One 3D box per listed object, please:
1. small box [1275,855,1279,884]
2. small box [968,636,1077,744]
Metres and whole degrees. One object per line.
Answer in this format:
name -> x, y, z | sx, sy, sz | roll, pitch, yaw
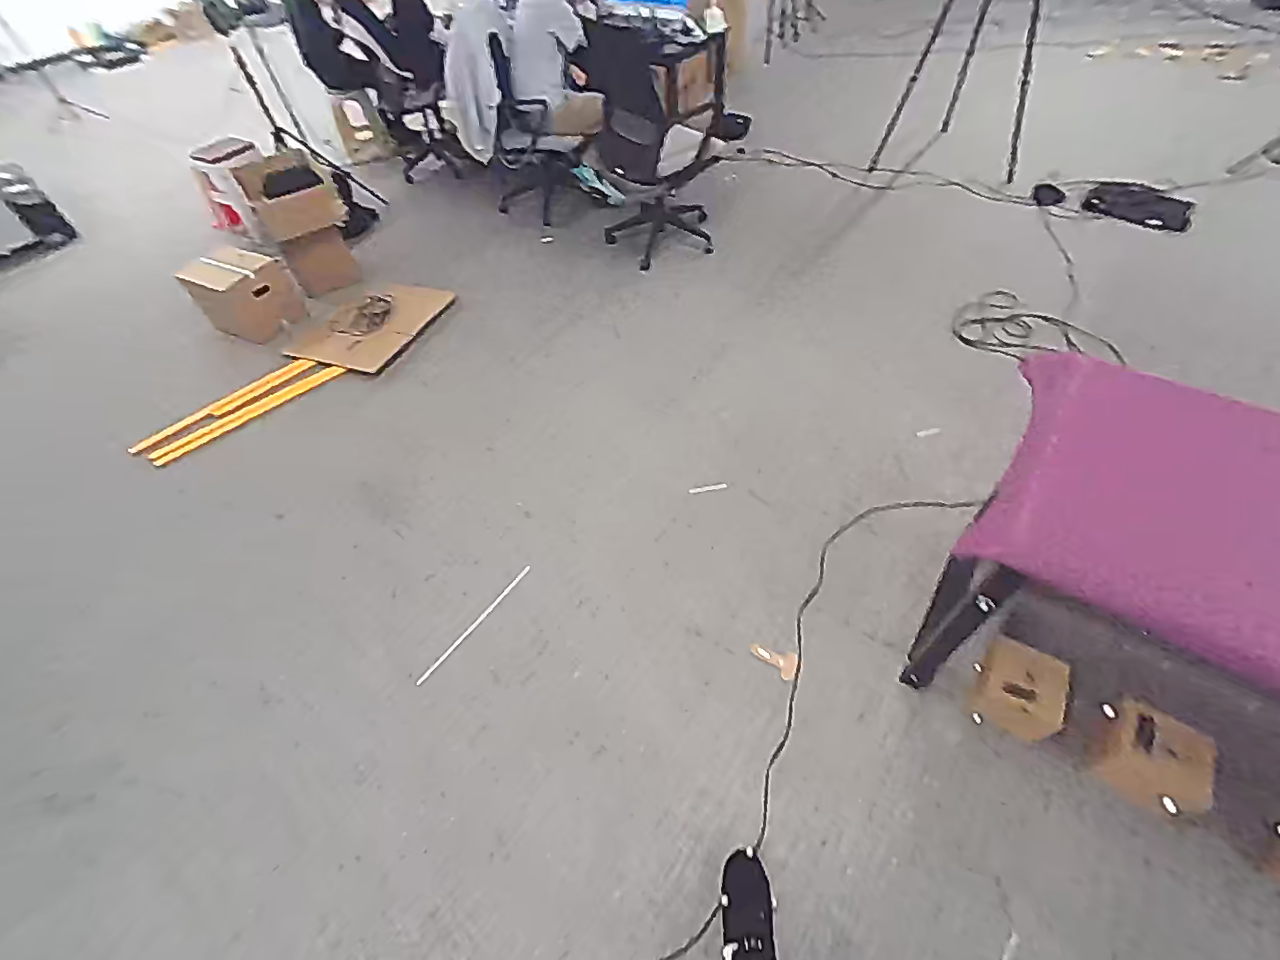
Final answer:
small box -> 1.478, 0.811, 1.105 | 0.179, 0.176, 0.168 | 31, 61, 27
small box -> 0.968, 0.541, 1.381 | 0.168, 0.176, 0.179 | 24, 57, 23
